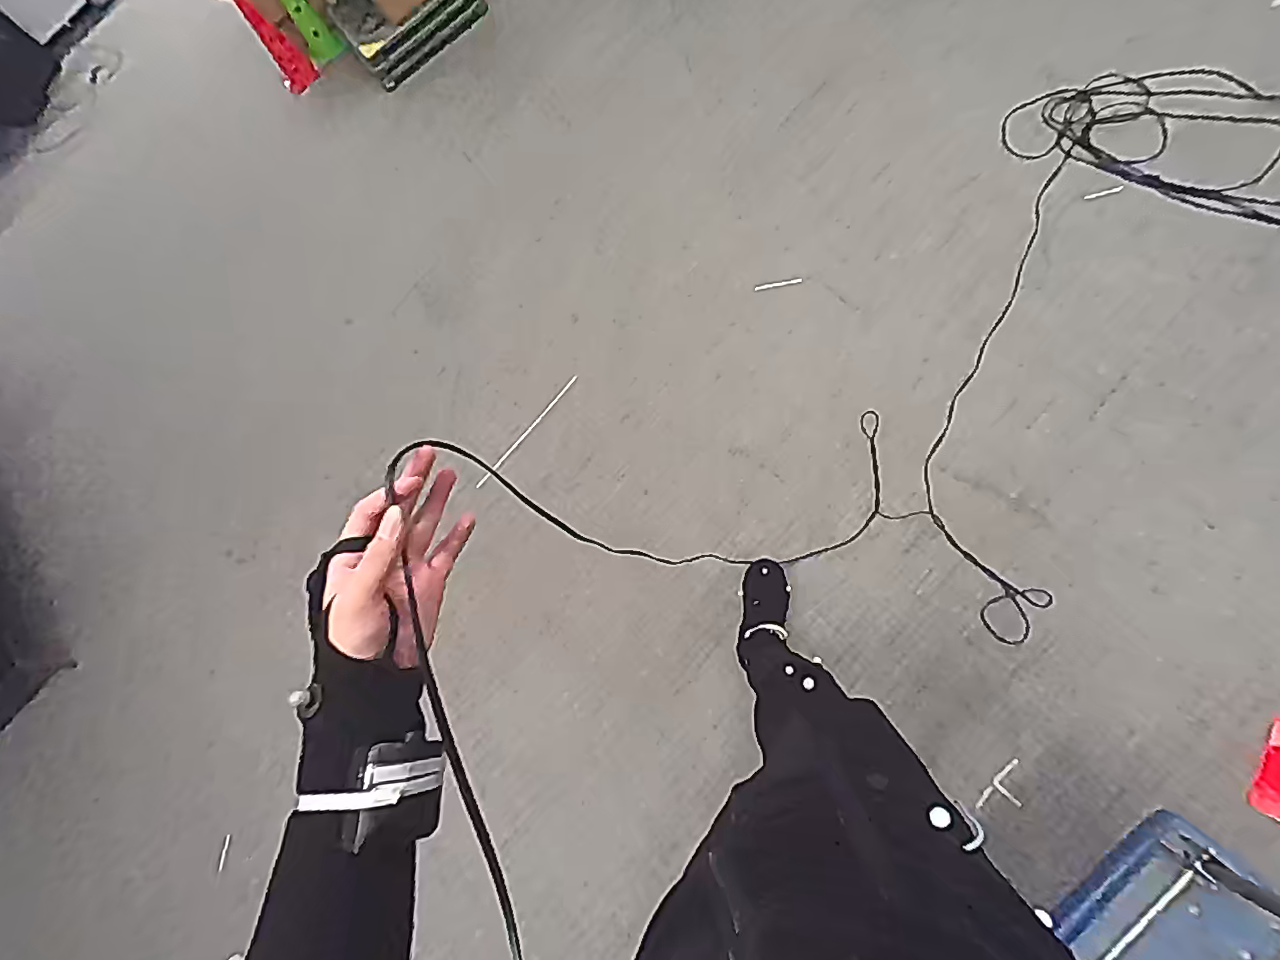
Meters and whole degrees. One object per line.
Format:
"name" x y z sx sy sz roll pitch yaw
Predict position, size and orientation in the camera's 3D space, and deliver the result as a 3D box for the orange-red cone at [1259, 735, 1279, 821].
"orange-red cone" 1.294 0.552 0.883 0.198 0.360 0.199 26 81 20
